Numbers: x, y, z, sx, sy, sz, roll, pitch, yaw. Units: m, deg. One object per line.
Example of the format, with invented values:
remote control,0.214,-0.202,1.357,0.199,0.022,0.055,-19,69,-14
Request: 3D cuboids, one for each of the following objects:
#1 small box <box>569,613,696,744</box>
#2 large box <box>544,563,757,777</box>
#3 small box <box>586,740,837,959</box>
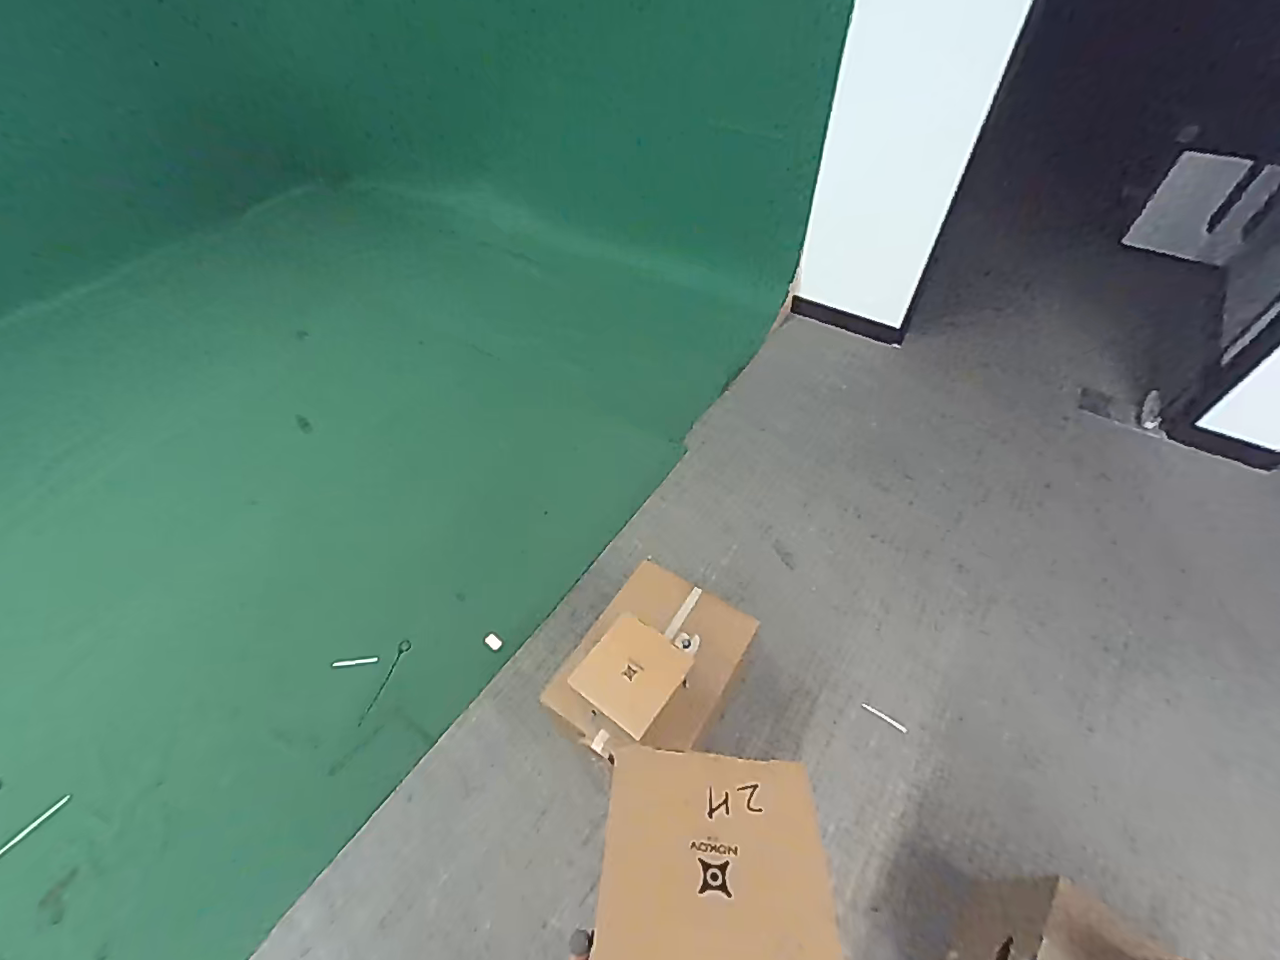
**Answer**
small box,-0.009,0.397,1.034,0.168,0.176,0.179,30,58,23
large box,0.037,0.486,1.274,0.320,0.320,0.408,27,57,22
small box,0.049,0.349,0.440,0.168,0.176,0.179,6,32,2
